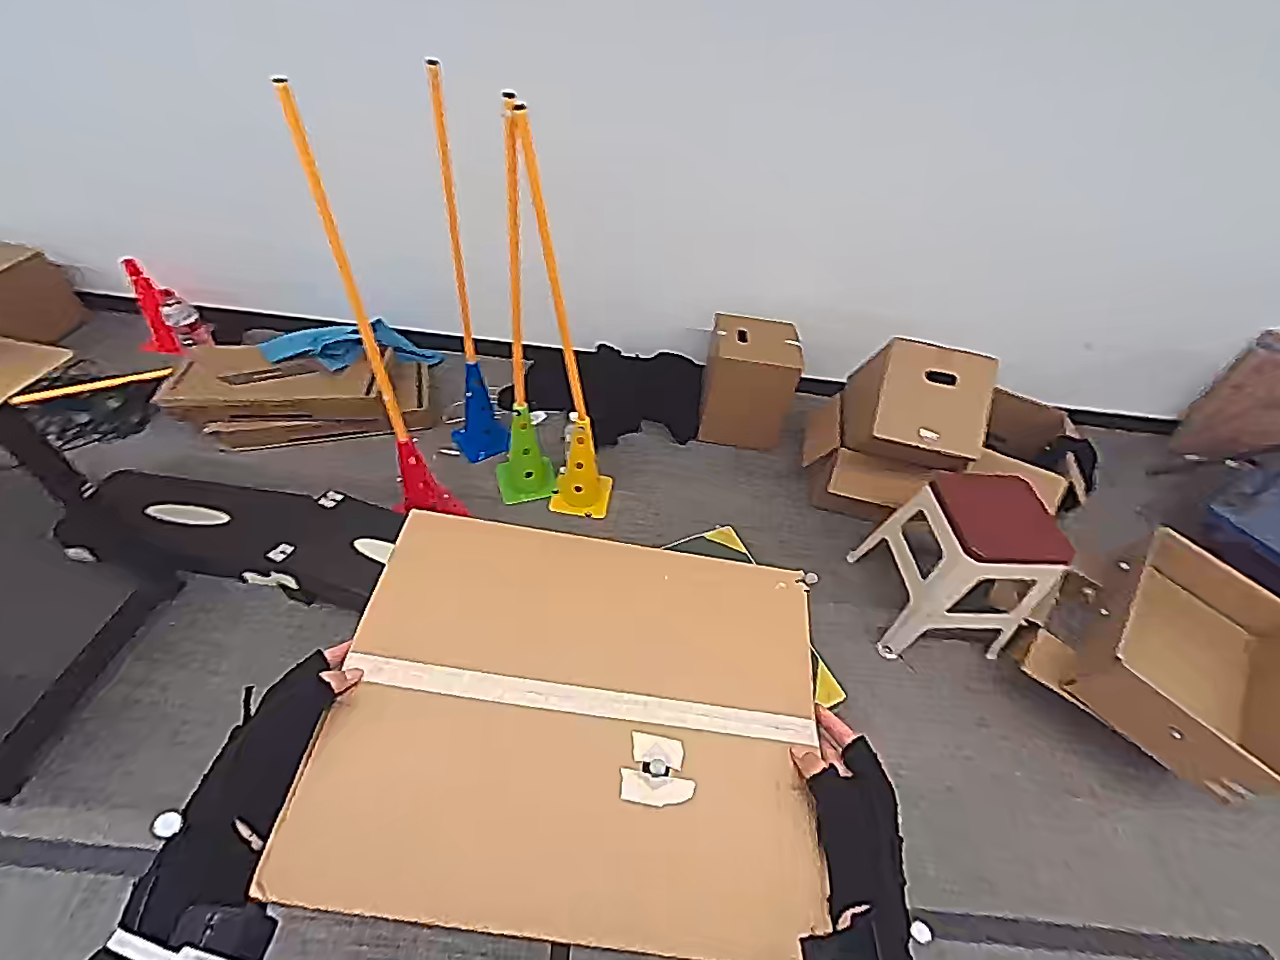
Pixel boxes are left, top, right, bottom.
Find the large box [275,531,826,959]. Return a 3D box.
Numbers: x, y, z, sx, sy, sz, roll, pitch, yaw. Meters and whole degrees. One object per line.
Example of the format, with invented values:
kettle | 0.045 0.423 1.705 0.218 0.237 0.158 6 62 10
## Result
large box | -0.066 0.289 0.589 0.408 0.320 0.320 10 55 -3
